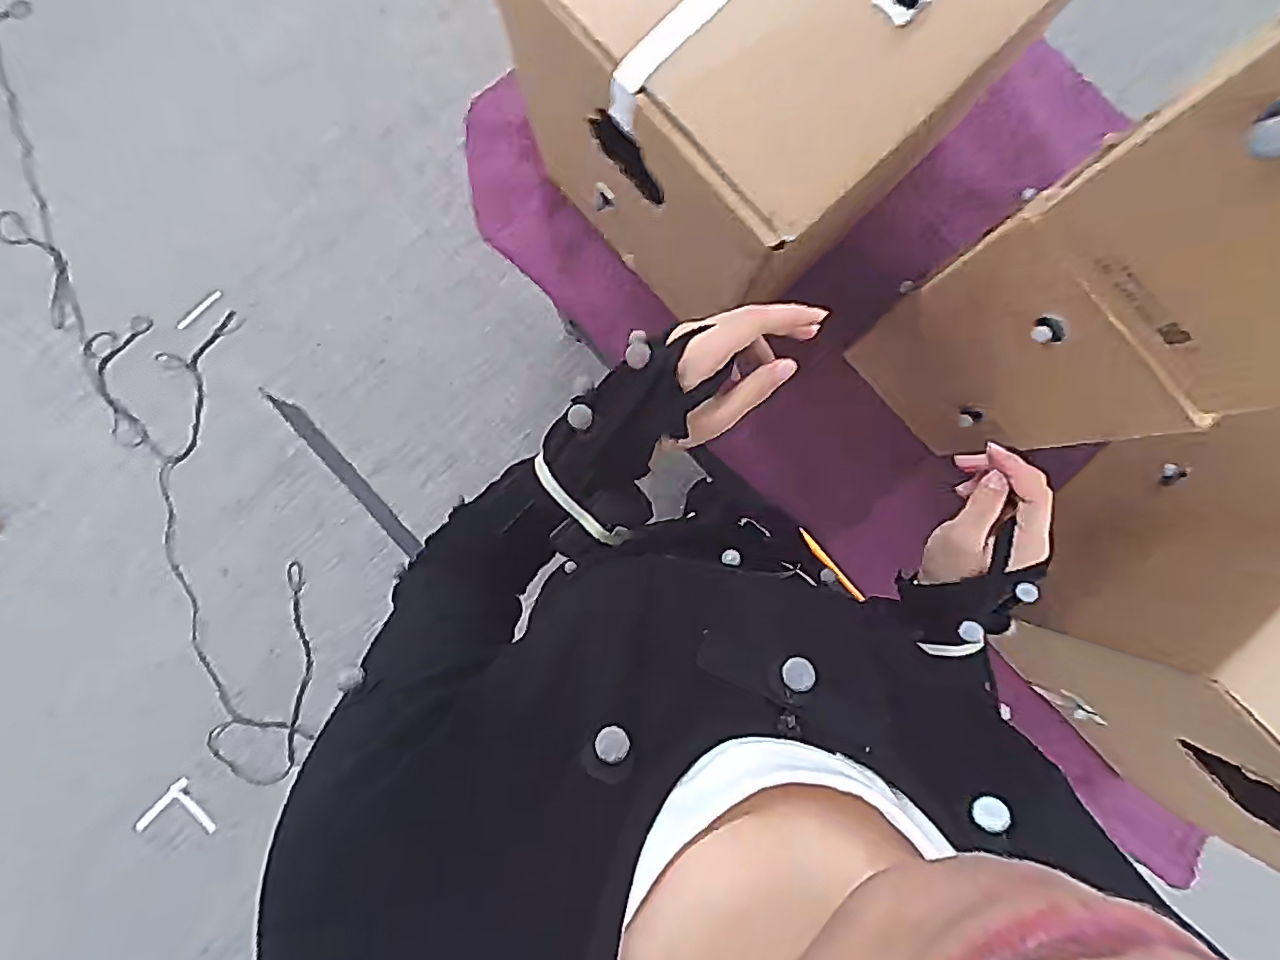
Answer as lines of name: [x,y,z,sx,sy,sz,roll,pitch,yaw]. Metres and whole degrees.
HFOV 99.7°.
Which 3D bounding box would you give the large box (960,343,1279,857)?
large box: [0.618,0.101,0.501,0.408,0.320,0.320,-44,89,-2]
